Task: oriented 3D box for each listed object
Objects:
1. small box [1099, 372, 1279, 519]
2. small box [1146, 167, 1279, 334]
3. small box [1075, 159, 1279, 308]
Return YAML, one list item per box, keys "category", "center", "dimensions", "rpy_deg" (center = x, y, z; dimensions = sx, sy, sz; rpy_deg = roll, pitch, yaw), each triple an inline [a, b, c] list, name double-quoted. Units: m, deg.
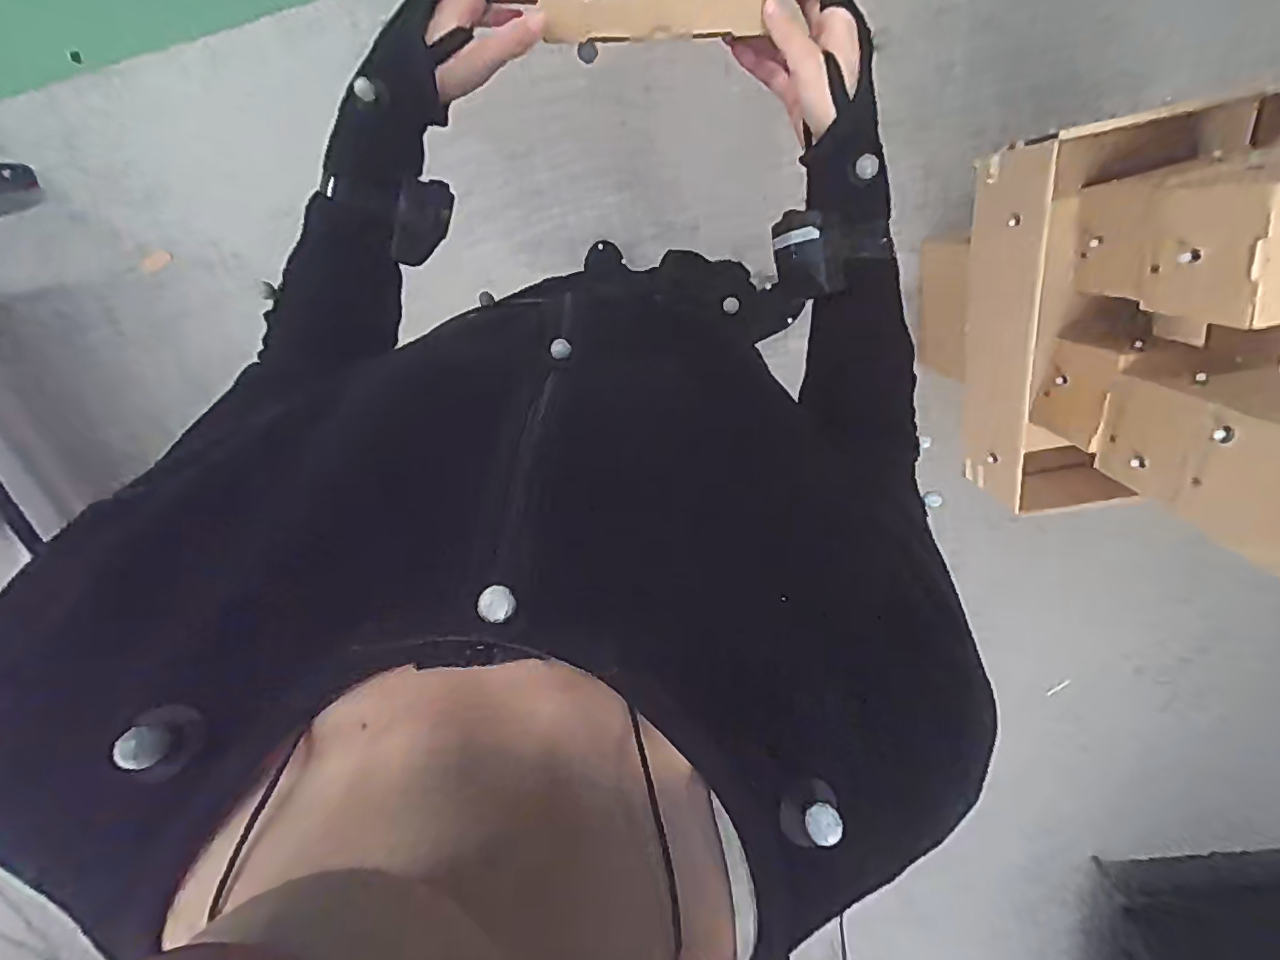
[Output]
- category: "small box"
  center: [0.833, -0.055, 0.792]
  dimensions: [0.179, 0.176, 0.168]
  rpy_deg: [-4, 115, 4]
- category: "small box"
  center: [0.799, -0.296, 0.681]
  dimensions: [0.179, 0.176, 0.168]
  rpy_deg: [-12, 114, 9]
- category: "small box"
  center: [0.819, -0.374, 0.824]
  dimensions: [0.179, 0.176, 0.168]
  rpy_deg: [-12, 113, 8]
